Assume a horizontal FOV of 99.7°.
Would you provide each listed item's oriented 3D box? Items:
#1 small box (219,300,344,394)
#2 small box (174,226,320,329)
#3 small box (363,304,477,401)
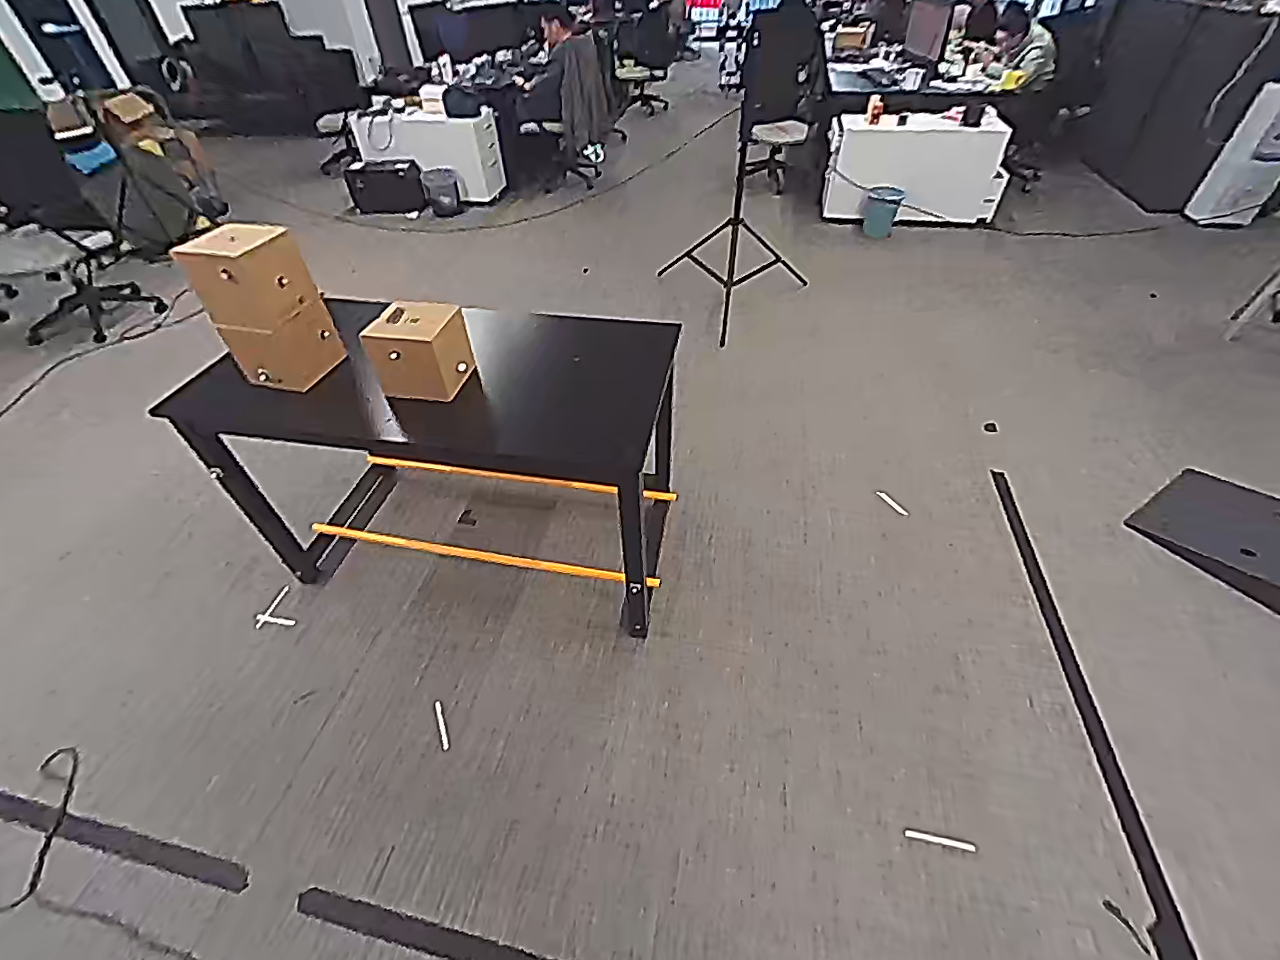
[{"bbox_3d":[-0.877,-0.340,1.351,0.168,0.176,0.179,8,47,12],"label":"small box"},{"bbox_3d":[-0.886,-0.462,1.240,0.179,0.176,0.168,8,45,12],"label":"small box"},{"bbox_3d":[-0.518,-0.306,1.301,0.179,0.176,0.168,6,45,8],"label":"small box"}]
